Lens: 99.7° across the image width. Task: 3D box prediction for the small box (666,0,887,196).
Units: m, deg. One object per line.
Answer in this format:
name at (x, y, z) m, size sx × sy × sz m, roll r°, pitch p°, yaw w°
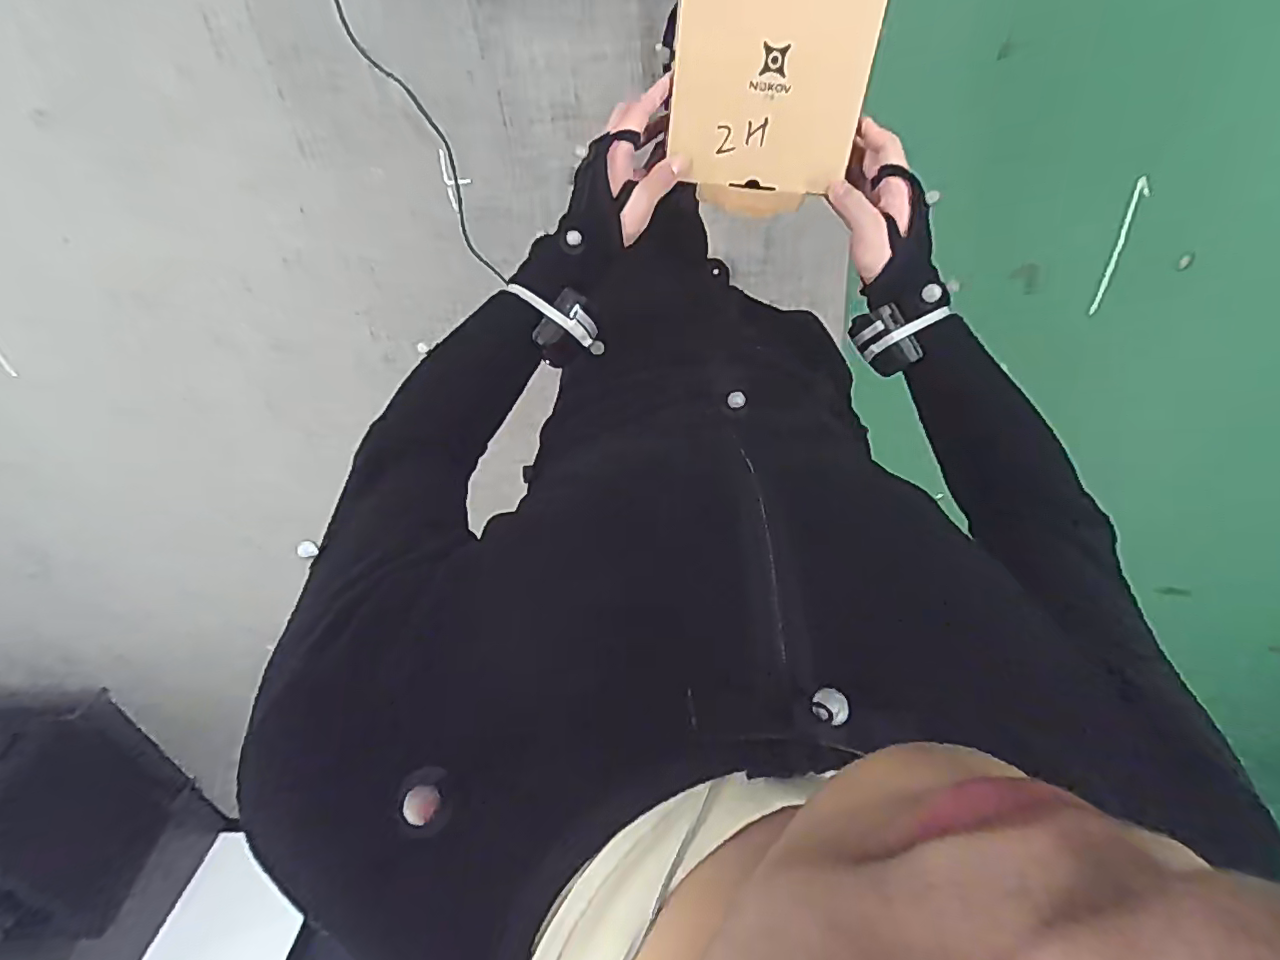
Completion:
small box at (0.116, -0.388, 0.531) m, size 0.168 × 0.176 × 0.179 m, roll 6°, pitch 120°, yaw 0°
